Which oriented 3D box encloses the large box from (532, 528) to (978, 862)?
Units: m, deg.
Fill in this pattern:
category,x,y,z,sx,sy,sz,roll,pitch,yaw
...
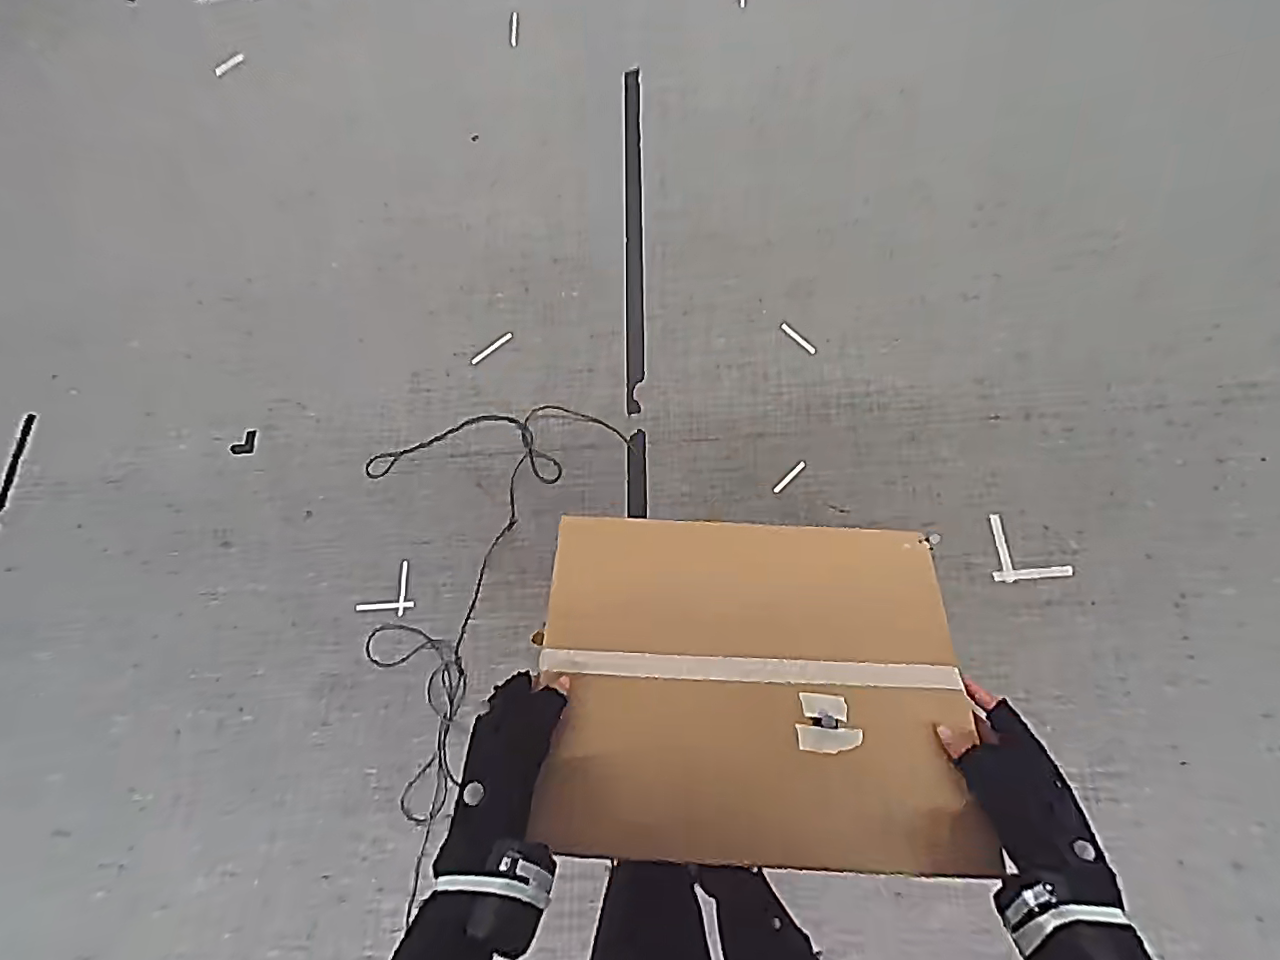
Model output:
category,x,y,z,sx,sy,sz,roll,pitch,yaw
large box,0.102,0.268,0.676,0.408,0.320,0.320,2,61,1
